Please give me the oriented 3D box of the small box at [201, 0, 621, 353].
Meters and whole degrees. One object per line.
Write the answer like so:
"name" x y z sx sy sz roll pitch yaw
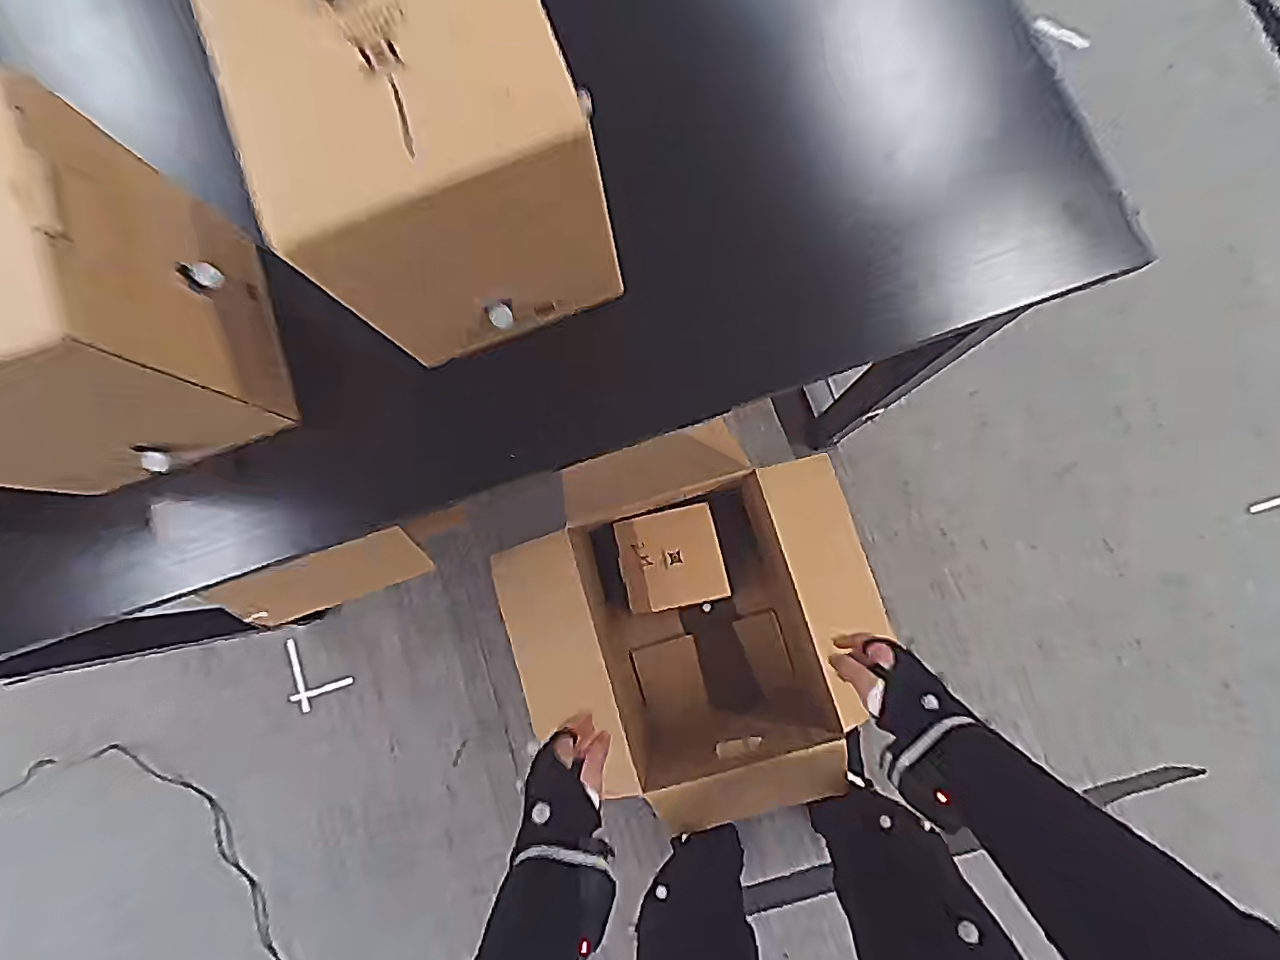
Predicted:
"small box" -0.120 -0.209 0.339 0.168 0.176 0.179 -20 82 1

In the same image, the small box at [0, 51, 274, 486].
"small box" -0.372 -0.106 0.341 0.179 0.176 0.168 -20 81 0
